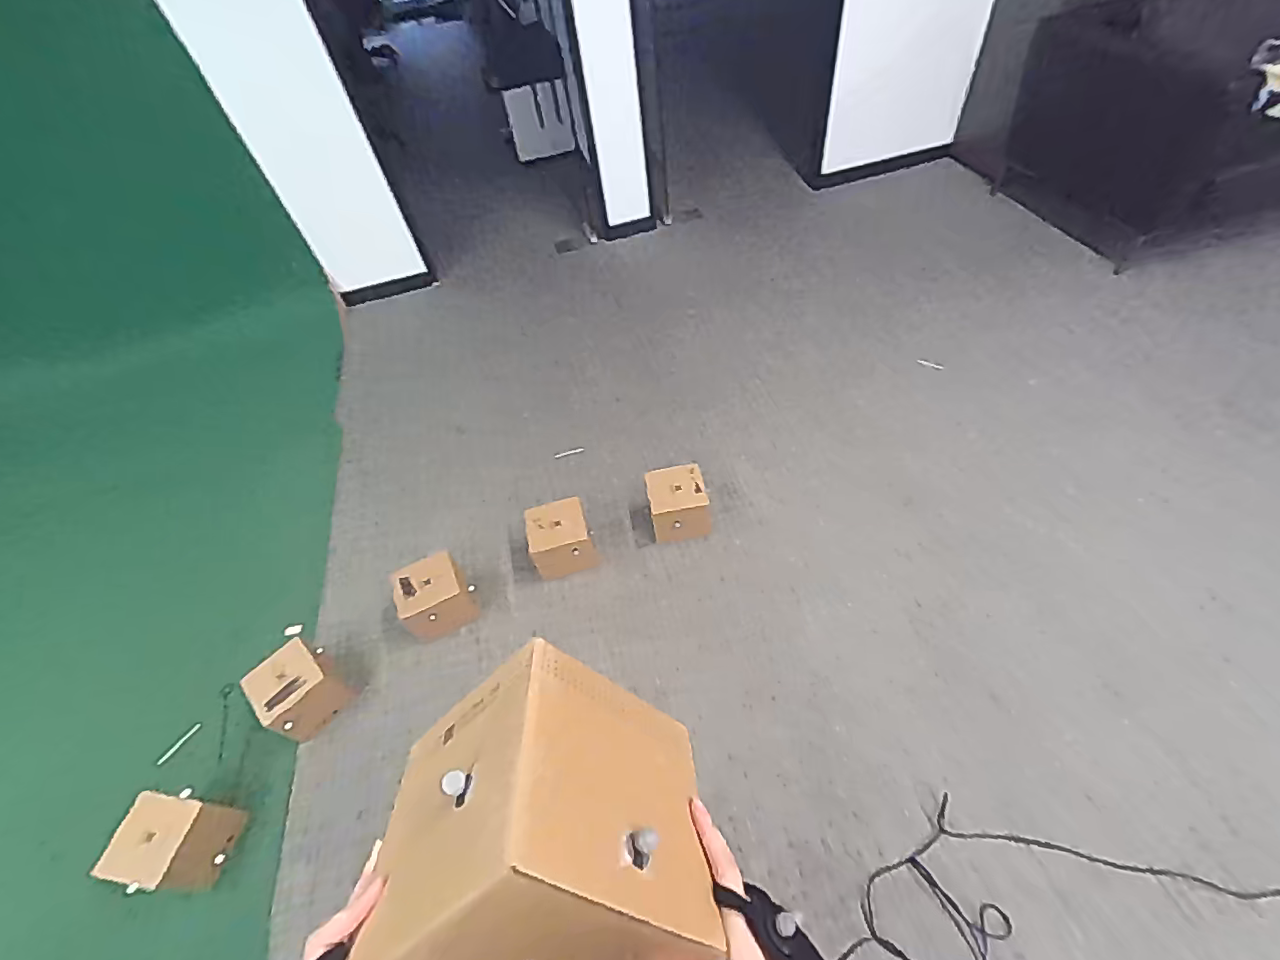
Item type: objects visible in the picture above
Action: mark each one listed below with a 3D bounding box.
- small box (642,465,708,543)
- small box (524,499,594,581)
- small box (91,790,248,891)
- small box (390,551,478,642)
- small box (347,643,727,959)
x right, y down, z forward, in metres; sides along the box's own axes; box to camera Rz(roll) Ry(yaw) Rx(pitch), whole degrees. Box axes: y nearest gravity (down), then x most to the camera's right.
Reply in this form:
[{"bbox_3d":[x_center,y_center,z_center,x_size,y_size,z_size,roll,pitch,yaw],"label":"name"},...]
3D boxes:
[{"bbox_3d":[0.112,0.082,1.701,0.179,0.176,0.168,-11,51,0],"label":"small box"},{"bbox_3d":[-0.246,0.187,1.668,0.179,0.176,0.168,-15,50,-4],"label":"small box"},{"bbox_3d":[-1.085,0.845,1.263,0.179,0.176,0.168,4,52,11],"label":"small box"},{"bbox_3d":[-0.602,0.346,1.590,0.179,0.176,0.168,-24,52,-12],"label":"small box"},{"bbox_3d":[-0.067,0.252,0.405,0.168,0.179,0.176,-43,23,15],"label":"small box"}]
